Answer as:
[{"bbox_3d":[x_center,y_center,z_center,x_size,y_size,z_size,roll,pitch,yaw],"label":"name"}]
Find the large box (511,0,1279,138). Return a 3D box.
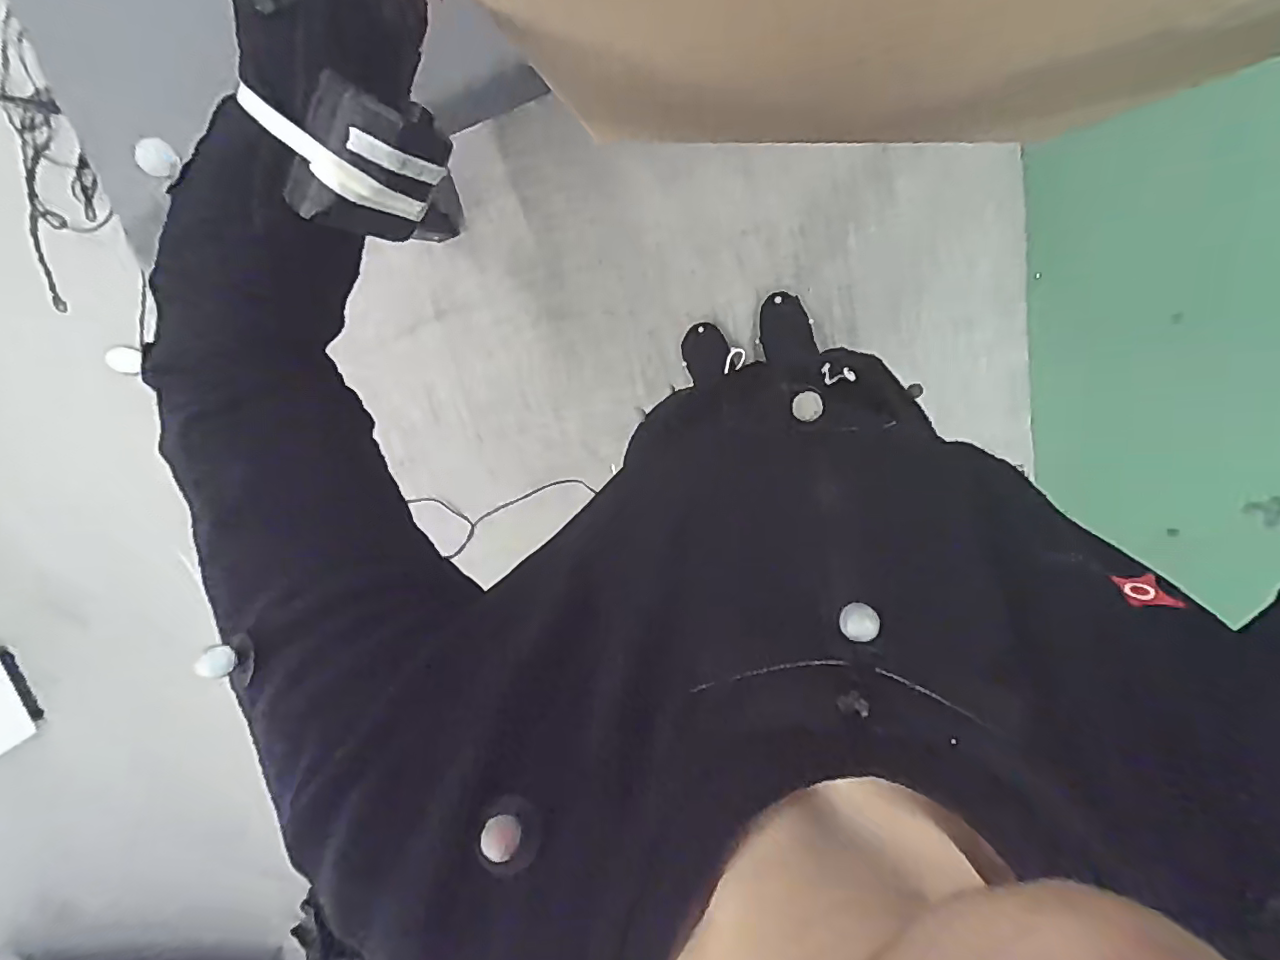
[{"bbox_3d":[0.140,-0.395,0.278,0.408,0.320,0.320,3,111,5],"label":"large box"}]
